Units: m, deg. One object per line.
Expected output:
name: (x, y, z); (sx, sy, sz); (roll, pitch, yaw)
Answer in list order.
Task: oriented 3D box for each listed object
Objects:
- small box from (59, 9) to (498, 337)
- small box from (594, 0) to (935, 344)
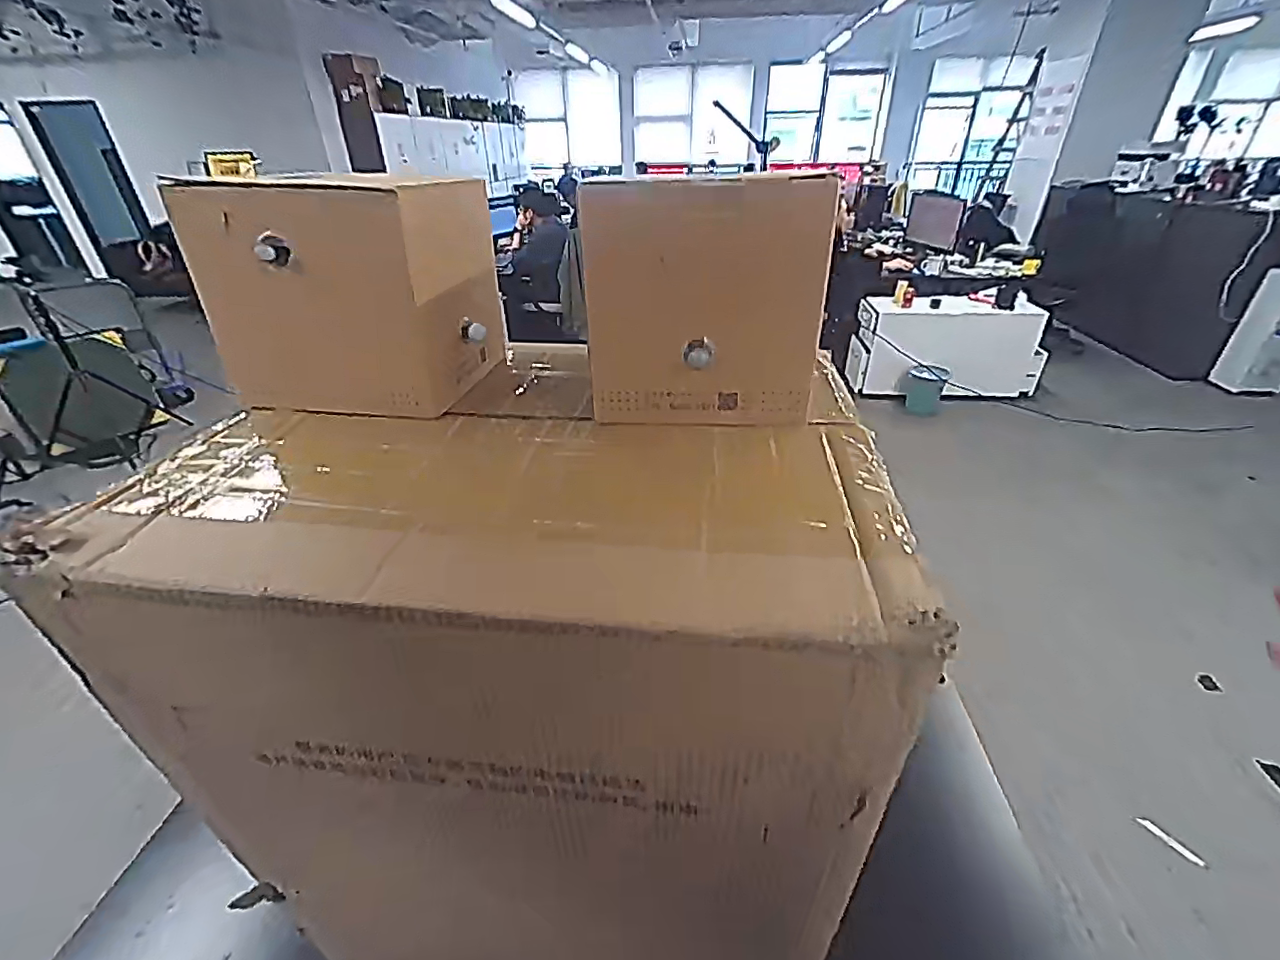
small box: (-0.219, -0.207, 0.388); (0.179, 0.176, 0.168); (4, 31, 5)
small box: (0.067, -0.200, 0.370); (0.168, 0.176, 0.179); (1, 30, 5)
